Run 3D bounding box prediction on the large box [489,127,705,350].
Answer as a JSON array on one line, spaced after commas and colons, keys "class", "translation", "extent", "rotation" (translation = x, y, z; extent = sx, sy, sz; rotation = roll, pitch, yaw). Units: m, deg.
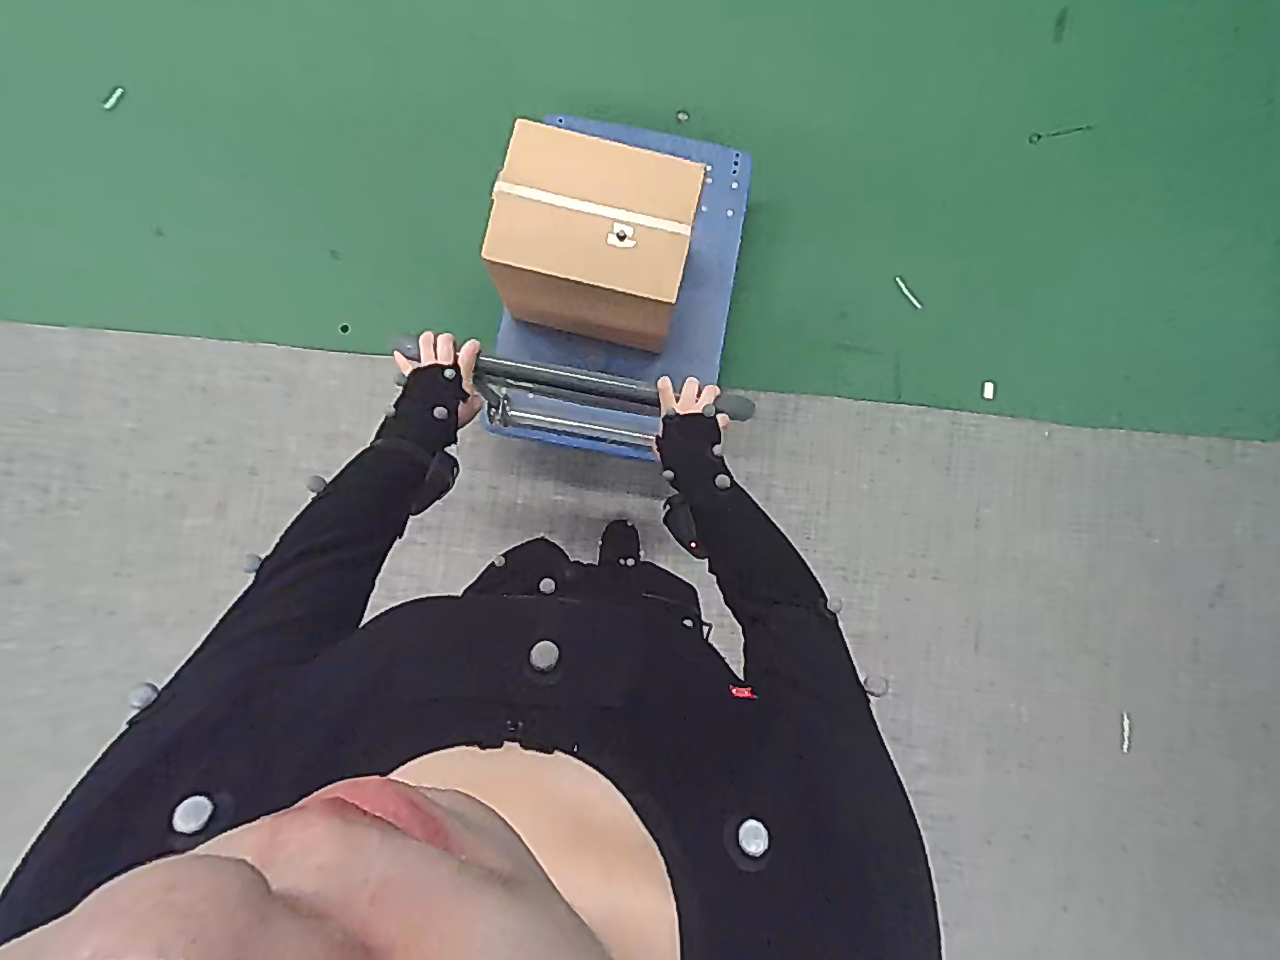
[{"class": "large box", "translation": [-0.096, -0.539, 1.269], "extent": [0.408, 0.320, 0.320], "rotation": [13, 84, -2]}]
